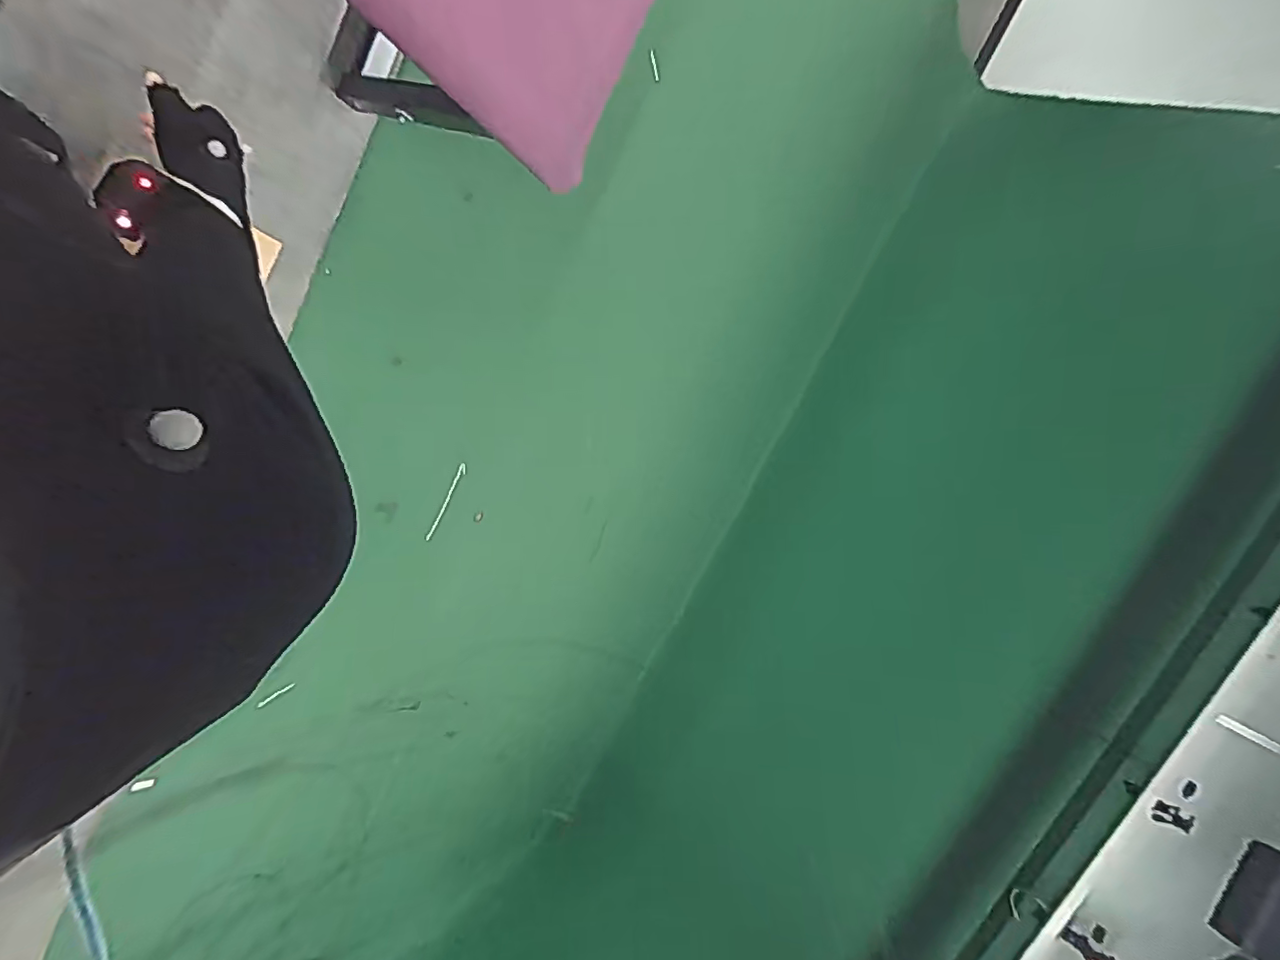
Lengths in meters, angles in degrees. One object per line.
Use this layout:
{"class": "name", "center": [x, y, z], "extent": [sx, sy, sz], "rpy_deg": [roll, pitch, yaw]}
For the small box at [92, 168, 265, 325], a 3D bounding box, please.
{"class": "small box", "center": [-0.802, -0.403, 0.938], "extent": [0.179, 0.176, 0.168], "rpy_deg": [-61, 149, 3]}
